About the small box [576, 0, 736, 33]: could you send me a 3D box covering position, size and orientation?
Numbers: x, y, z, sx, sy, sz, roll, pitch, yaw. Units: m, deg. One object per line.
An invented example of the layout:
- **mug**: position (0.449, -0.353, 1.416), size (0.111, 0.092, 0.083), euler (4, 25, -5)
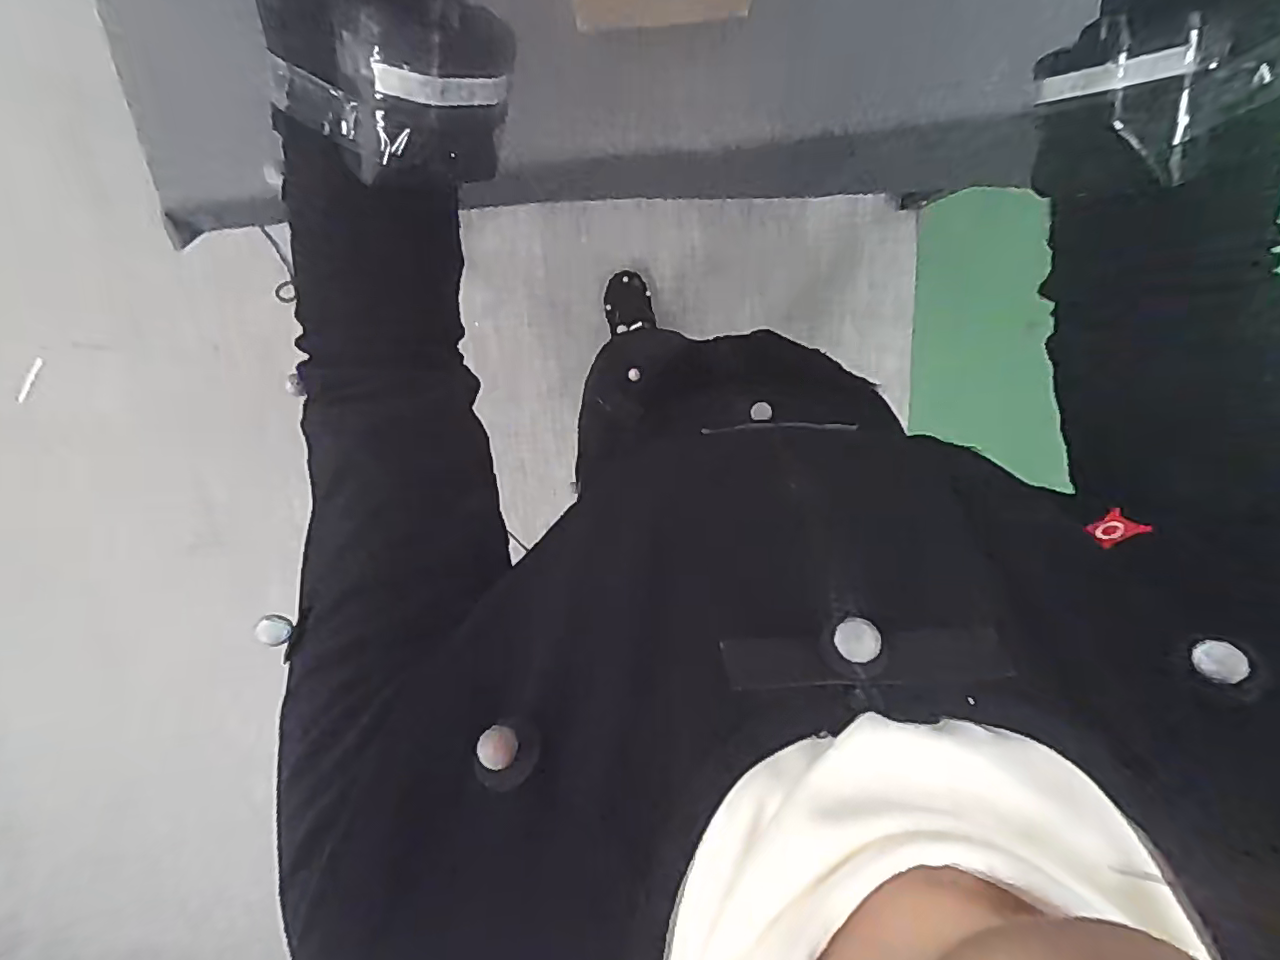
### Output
- **small box**: position (0.017, -0.528, 0.463), size (0.179, 0.176, 0.168), euler (-9, 106, 1)
